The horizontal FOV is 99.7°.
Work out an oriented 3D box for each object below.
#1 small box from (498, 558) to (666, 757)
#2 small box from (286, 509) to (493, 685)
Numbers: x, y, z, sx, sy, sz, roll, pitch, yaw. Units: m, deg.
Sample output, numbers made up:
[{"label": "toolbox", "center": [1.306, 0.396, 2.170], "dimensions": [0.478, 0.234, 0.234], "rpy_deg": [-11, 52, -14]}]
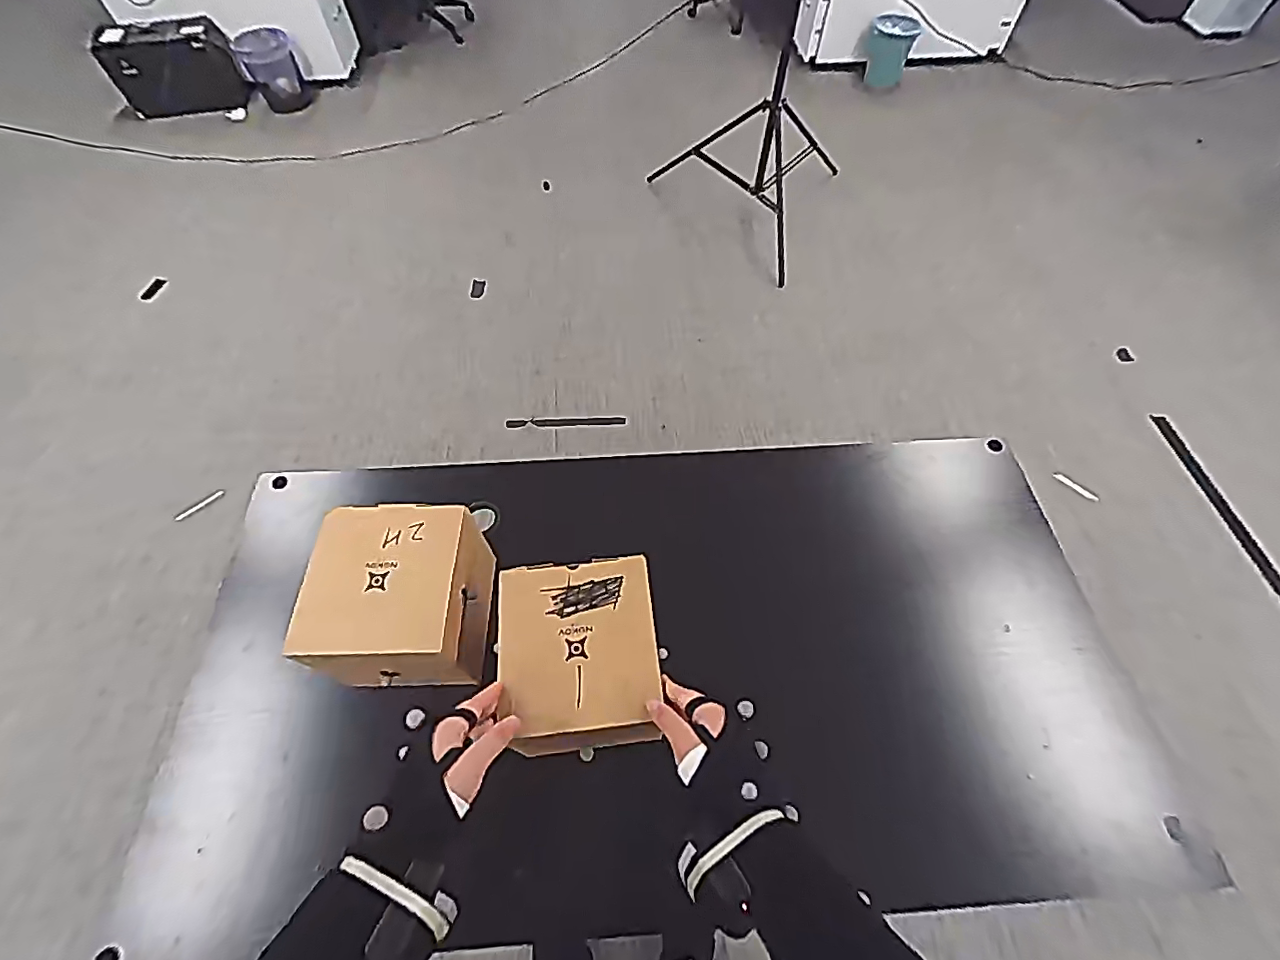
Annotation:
[{"label": "small box", "center": [-0.064, 0.211, 0.632], "dimensions": [0.168, 0.176, 0.179], "rpy_deg": [-6, 59, -3]}, {"label": "small box", "center": [-0.288, 0.151, 0.670], "dimensions": [0.168, 0.176, 0.179], "rpy_deg": [-1, 58, -1]}]
